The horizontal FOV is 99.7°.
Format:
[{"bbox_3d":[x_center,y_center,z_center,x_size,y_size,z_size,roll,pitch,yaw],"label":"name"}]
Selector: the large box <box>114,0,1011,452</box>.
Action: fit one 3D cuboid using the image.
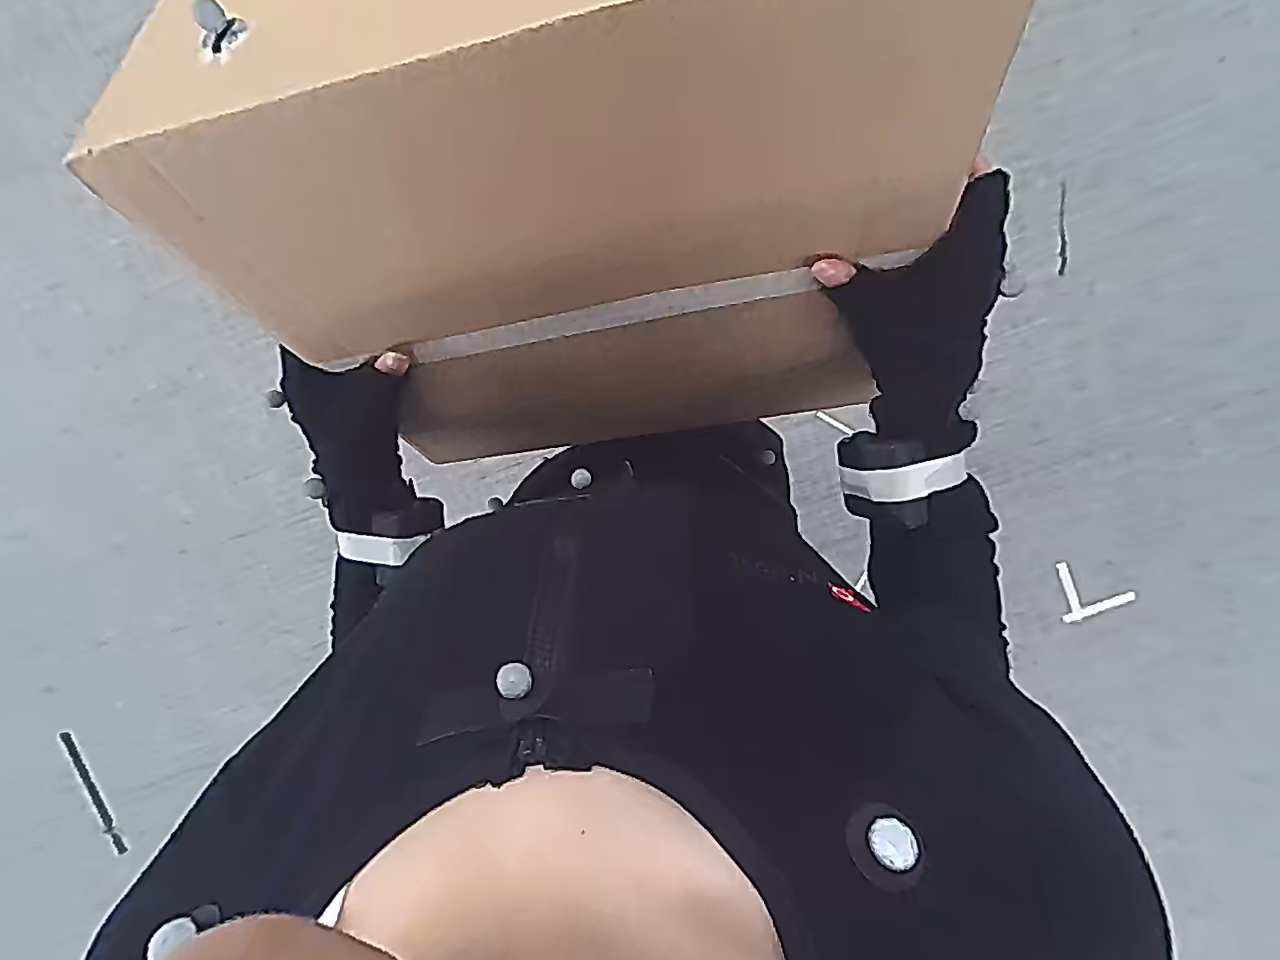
[{"bbox_3d":[-0.032,-0.249,0.413,0.408,0.320,0.320,-7,65,9],"label":"large box"}]
